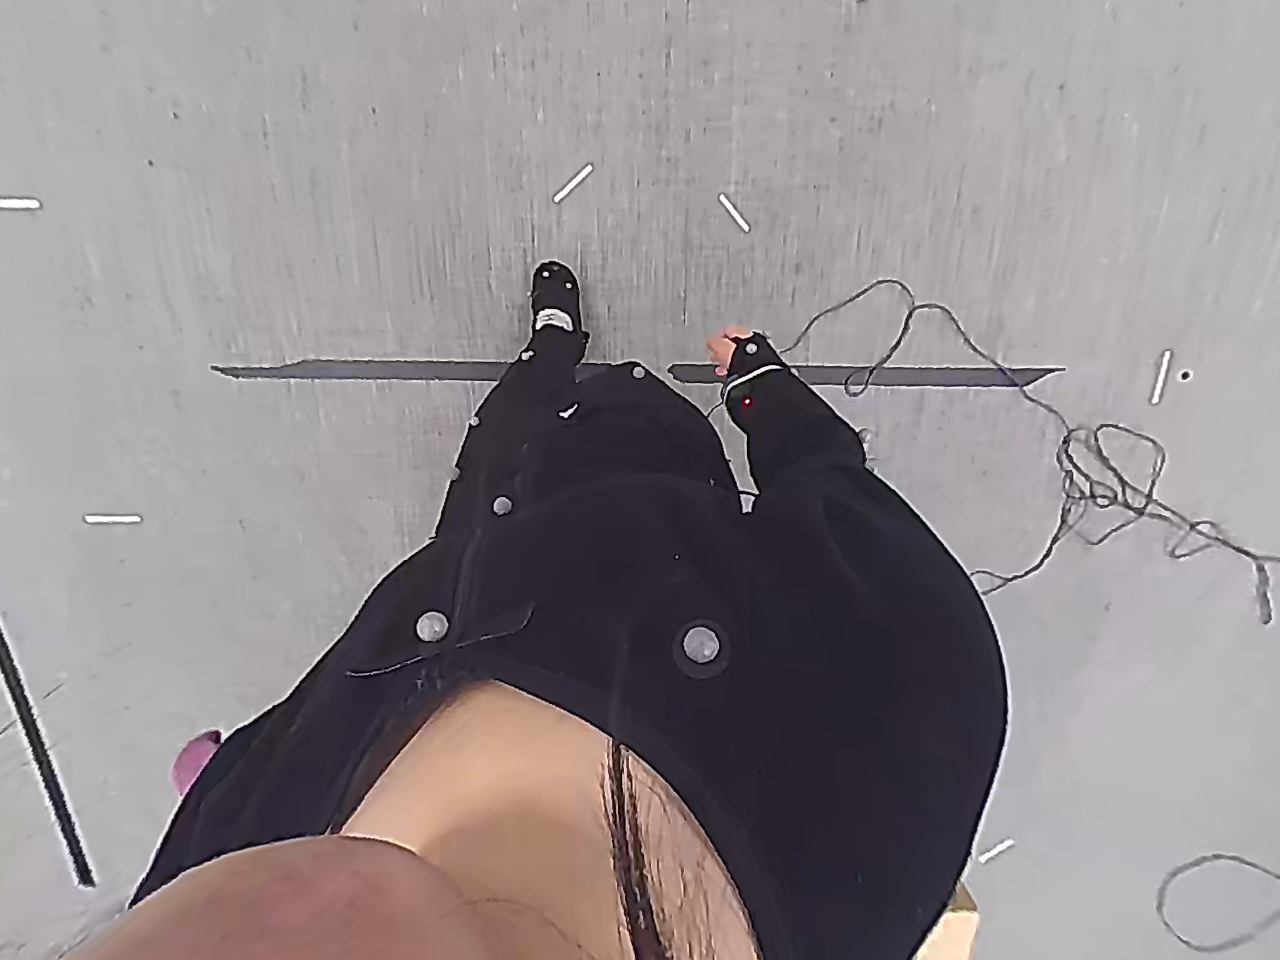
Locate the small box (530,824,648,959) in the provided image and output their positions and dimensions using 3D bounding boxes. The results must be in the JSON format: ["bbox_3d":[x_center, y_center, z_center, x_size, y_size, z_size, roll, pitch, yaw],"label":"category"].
[{"bbox_3d":[-0.071,0.678,0.844,0.168,0.176,0.179,-1,106,0],"label":"small box"}]
